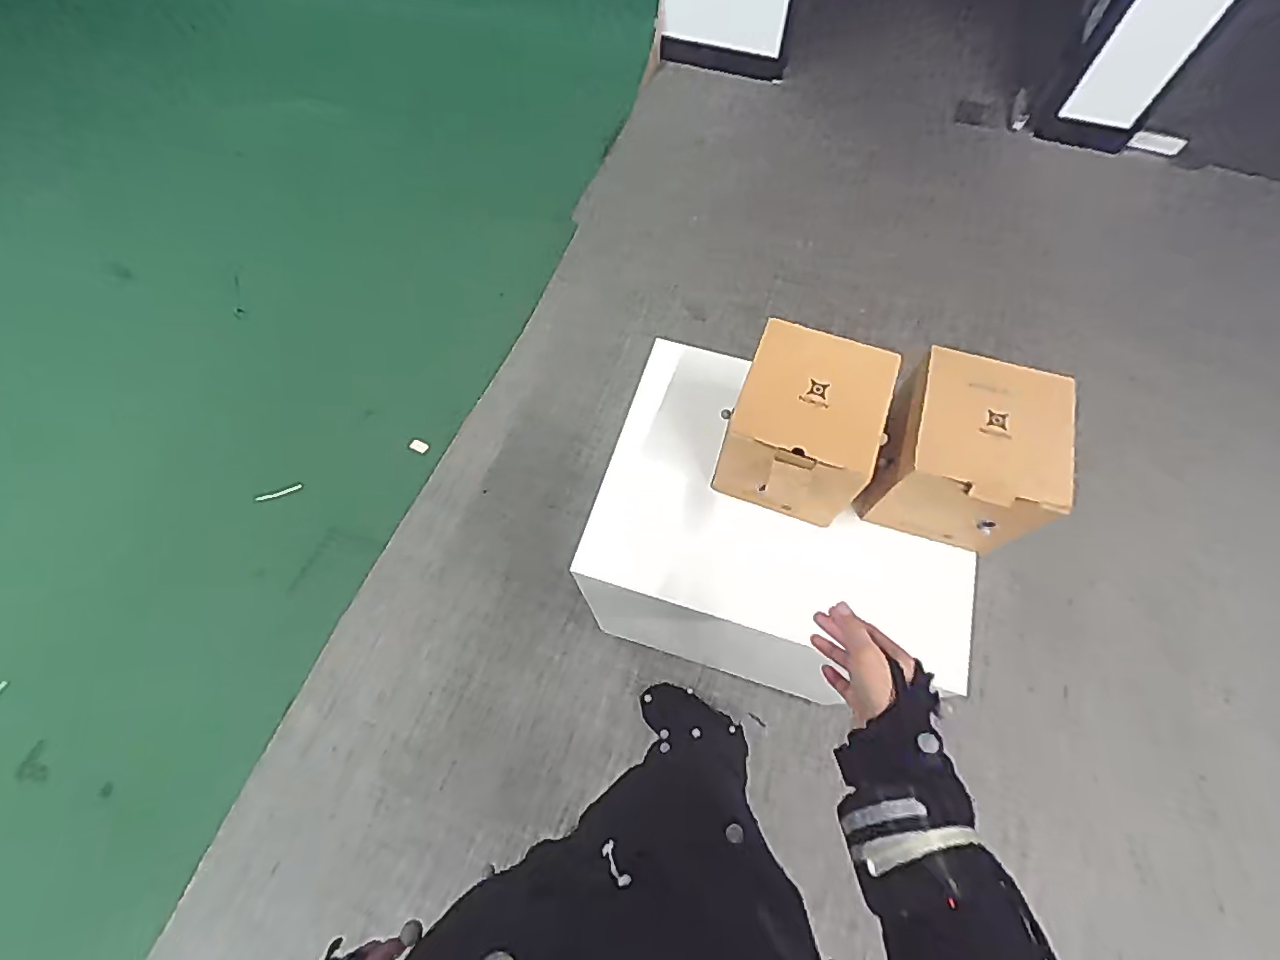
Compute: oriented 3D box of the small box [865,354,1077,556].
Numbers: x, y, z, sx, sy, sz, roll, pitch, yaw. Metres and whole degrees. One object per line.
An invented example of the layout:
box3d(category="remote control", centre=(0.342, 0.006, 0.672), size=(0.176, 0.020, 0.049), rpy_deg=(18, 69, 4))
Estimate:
box3d(category="small box", centre=(0.399, -0.022, 0.675), size=(0.168, 0.176, 0.179), rpy_deg=(16, 67, 7))
